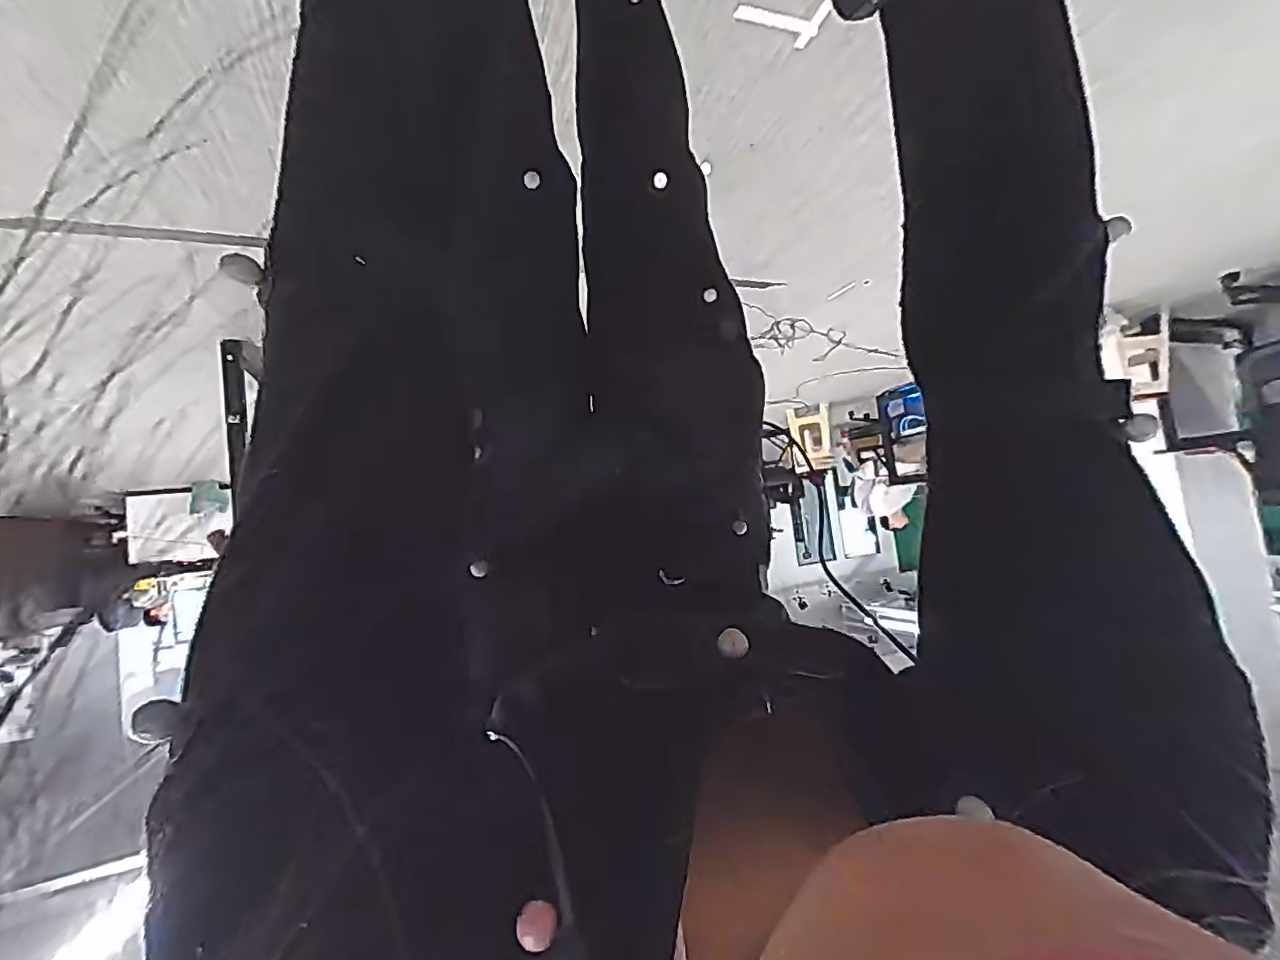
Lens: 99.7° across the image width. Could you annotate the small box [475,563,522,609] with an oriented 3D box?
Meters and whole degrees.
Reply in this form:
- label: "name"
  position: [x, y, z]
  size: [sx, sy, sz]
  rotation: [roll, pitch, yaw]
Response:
- label: "small box"
  position: [-0.606, 0.441, 2.298]
  size: [0.168, 0.176, 0.179]
  rotation: [-6, 177, -24]
